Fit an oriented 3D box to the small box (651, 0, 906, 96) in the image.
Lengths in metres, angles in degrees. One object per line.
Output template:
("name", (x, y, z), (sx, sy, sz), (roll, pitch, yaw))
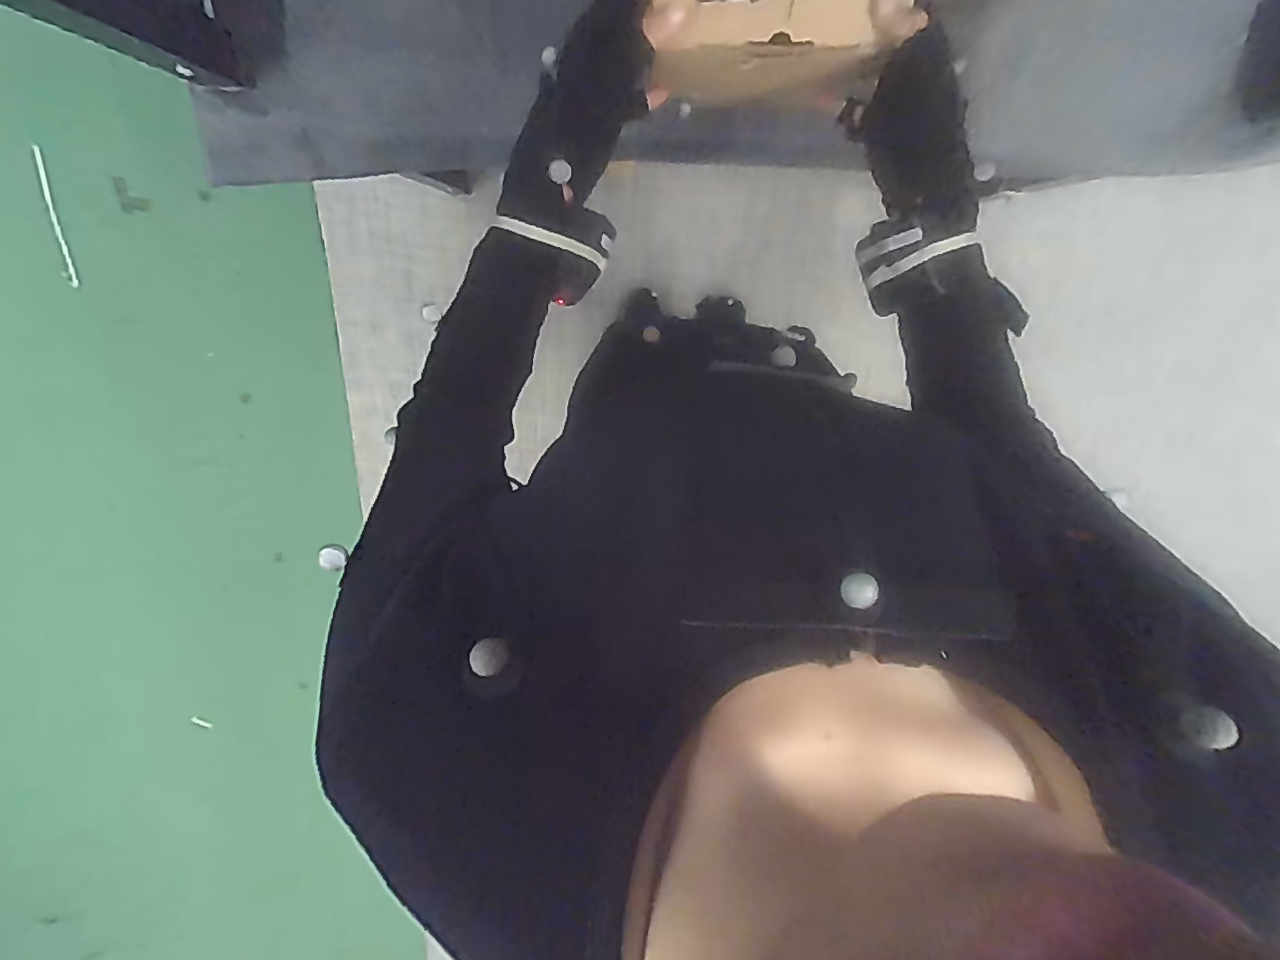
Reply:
("small box", (0.093, -0.402, 0.398), (0.168, 0.176, 0.179), (0, 114, 0))
